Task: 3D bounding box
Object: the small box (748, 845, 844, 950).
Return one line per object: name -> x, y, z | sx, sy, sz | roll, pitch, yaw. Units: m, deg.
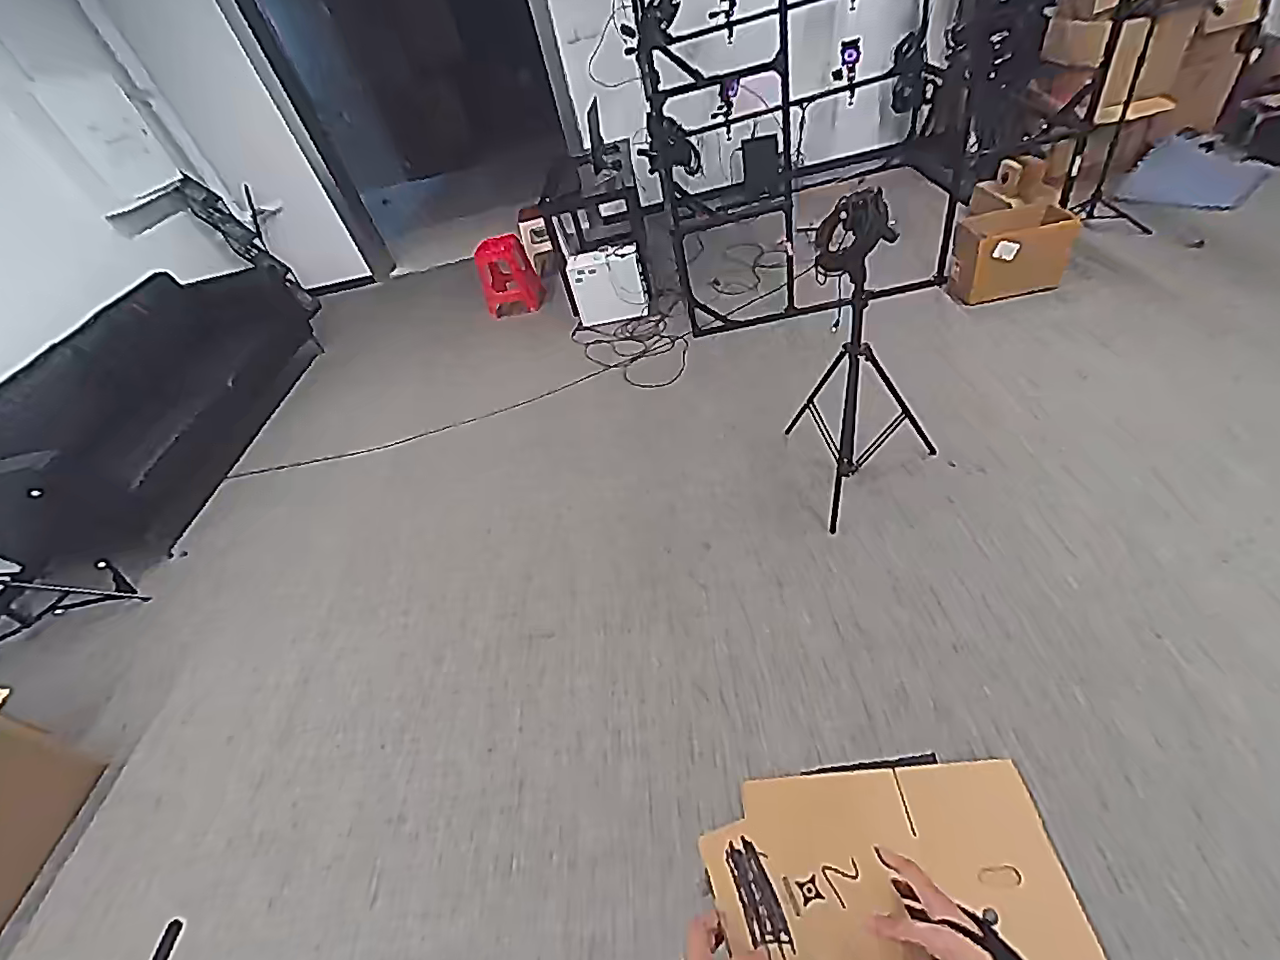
small box -> 0.348, 0.943, 1.220 | 0.179, 0.176, 0.168 | -10, 43, 9
